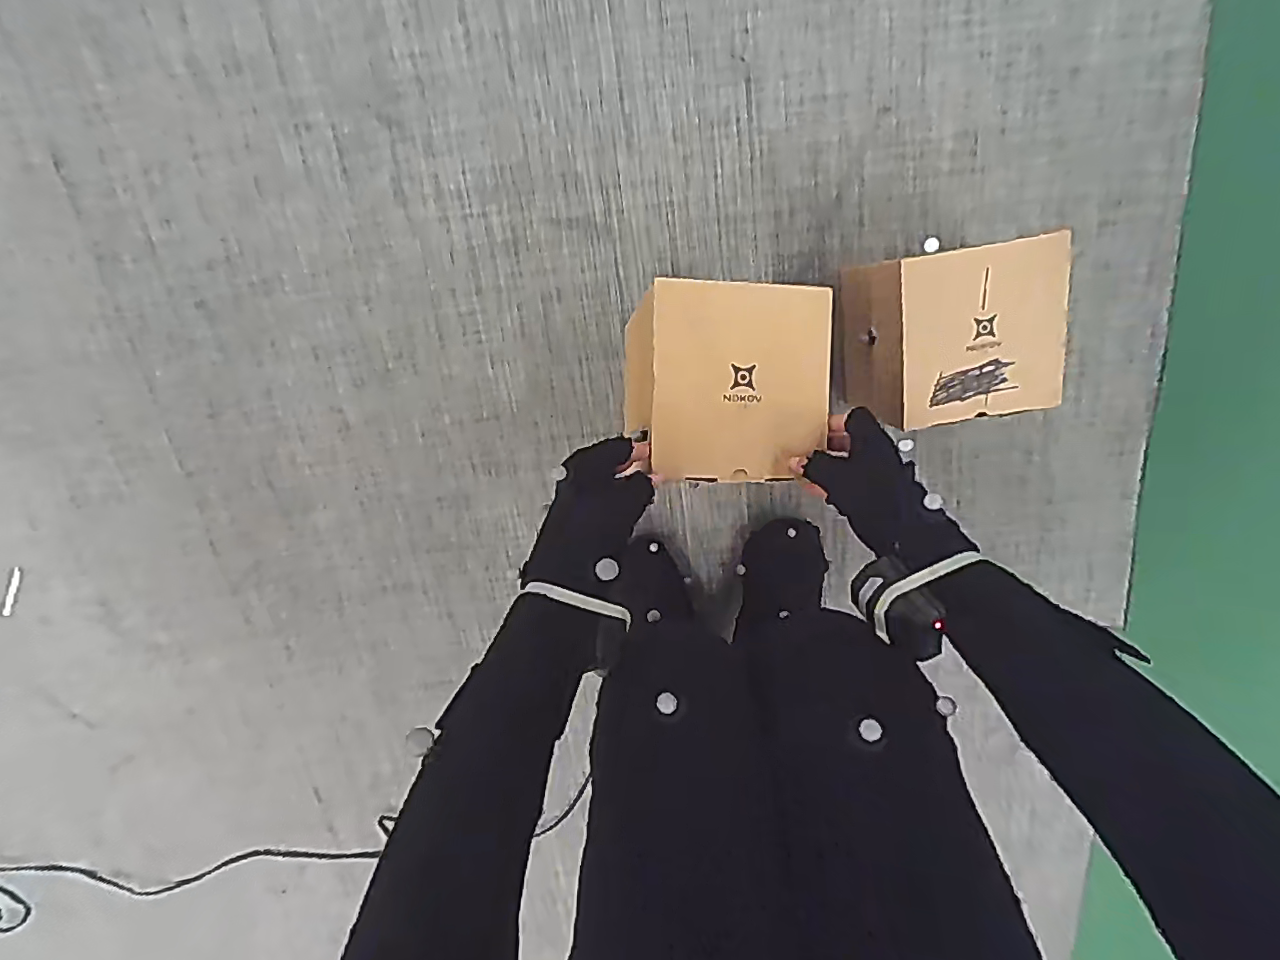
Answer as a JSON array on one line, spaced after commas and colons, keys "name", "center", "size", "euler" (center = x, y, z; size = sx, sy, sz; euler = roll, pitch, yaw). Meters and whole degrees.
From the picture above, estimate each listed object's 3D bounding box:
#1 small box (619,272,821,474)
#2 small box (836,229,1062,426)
[{"name": "small box", "center": [0.069, -0.098, 0.557], "size": [0.168, 0.176, 0.179], "euler": [-1, 95, -9]}, {"name": "small box", "center": [0.336, -0.174, 0.622], "size": [0.168, 0.176, 0.179], "euler": [-9, 107, 3]}]
